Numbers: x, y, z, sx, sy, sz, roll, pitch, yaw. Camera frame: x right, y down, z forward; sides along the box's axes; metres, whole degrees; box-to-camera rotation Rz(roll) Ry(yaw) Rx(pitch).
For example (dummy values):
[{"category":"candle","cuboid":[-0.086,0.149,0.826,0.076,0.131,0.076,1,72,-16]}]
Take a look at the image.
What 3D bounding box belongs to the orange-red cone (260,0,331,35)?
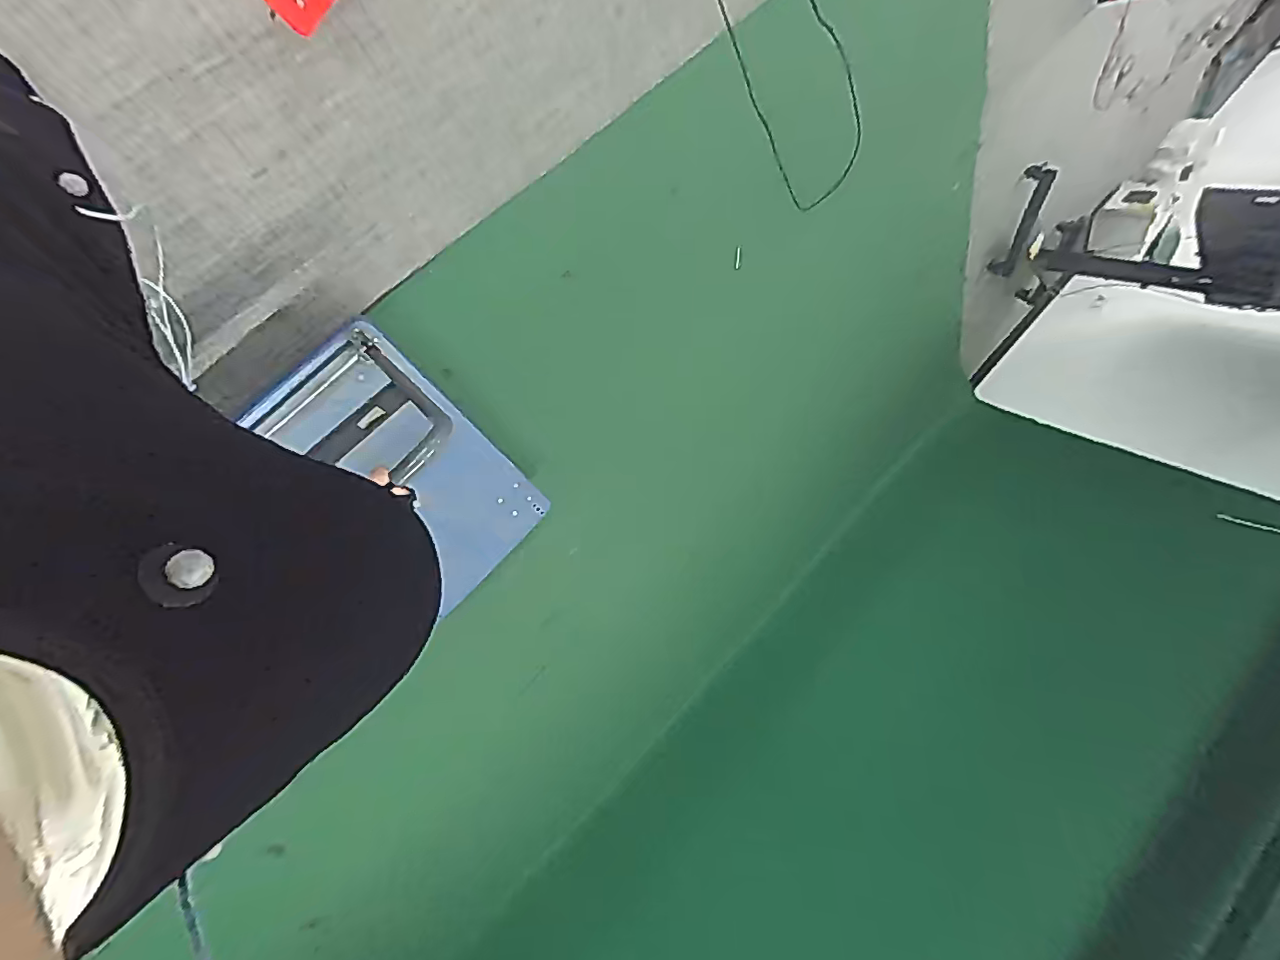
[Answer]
[{"category":"orange-red cone","cuboid":[-0.595,-0.961,0.947,0.199,0.360,0.198,-55,140,-2]}]
